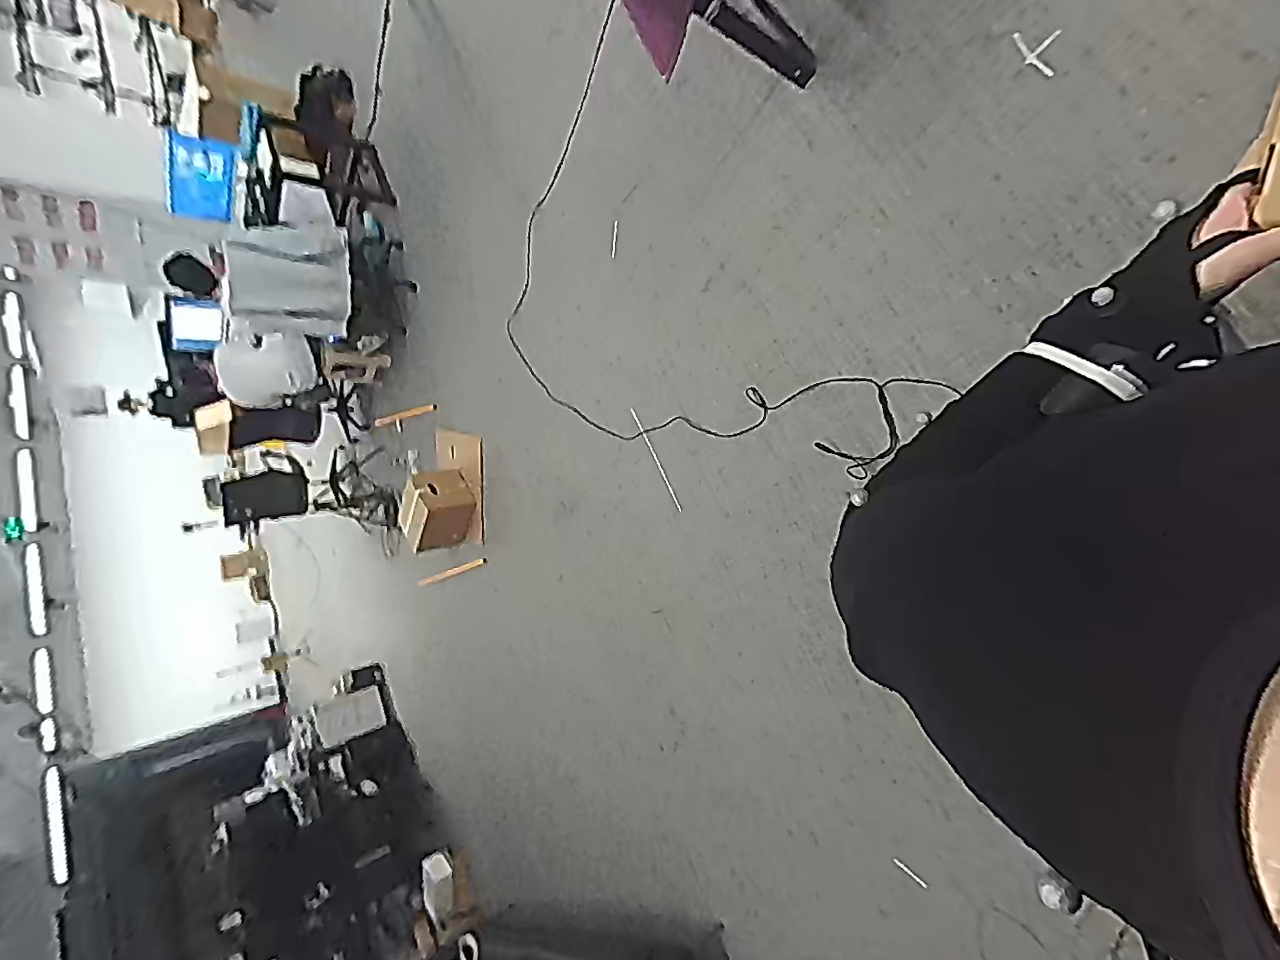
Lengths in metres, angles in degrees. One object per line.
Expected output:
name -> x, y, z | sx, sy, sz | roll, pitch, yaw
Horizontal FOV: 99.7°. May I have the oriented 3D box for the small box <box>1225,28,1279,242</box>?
small box -> 0.487, -0.241, 0.299 | 0.179, 0.176, 0.168 | 20, 133, 48
